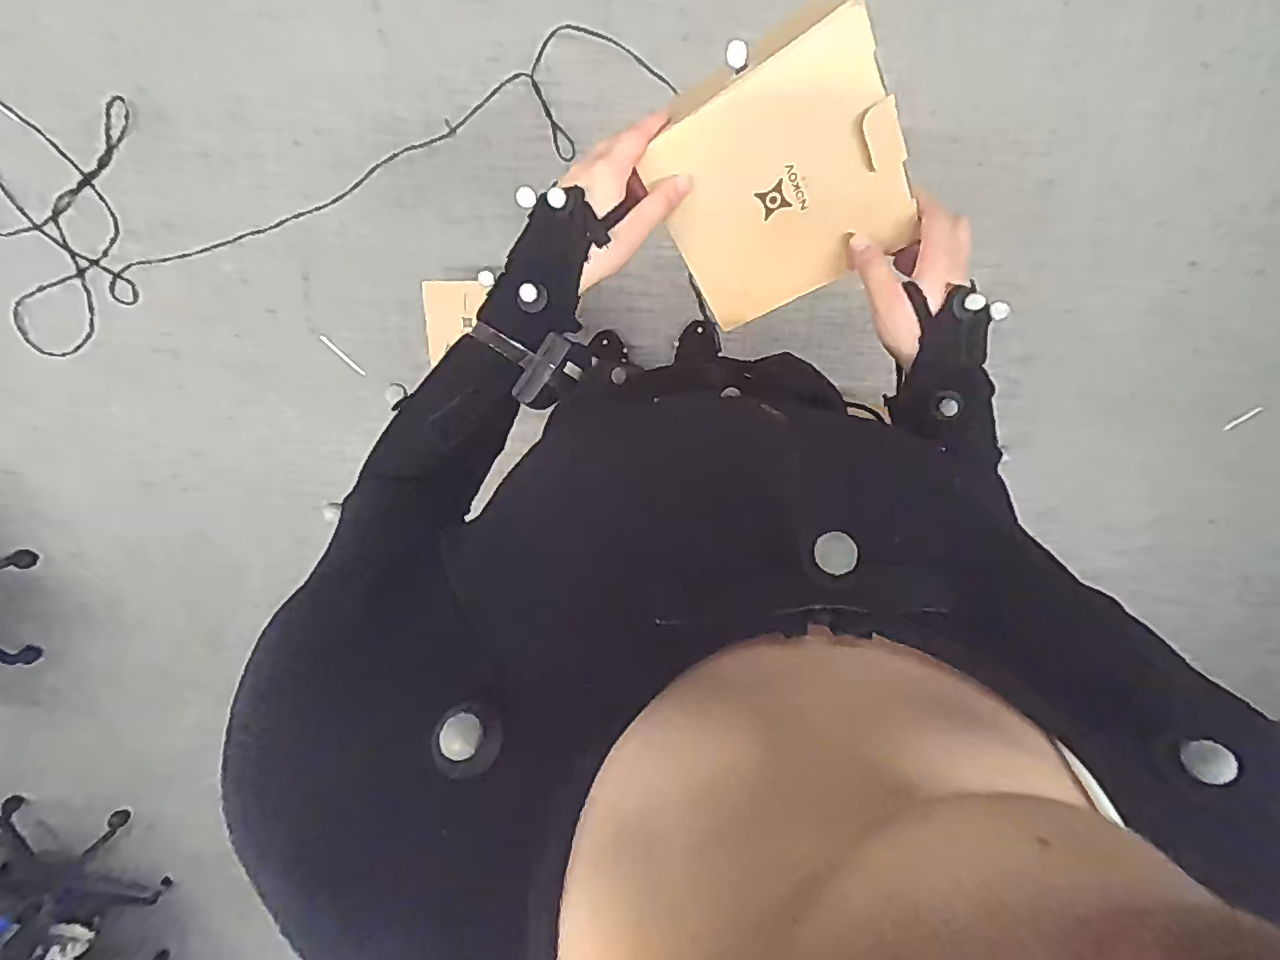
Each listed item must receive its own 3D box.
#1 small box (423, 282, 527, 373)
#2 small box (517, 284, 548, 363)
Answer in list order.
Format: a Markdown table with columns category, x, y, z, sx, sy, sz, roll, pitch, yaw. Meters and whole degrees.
| category | x | y | z | sx | sy | sz | roll | pitch | yaw |
| --- | --- | --- | --- | --- | --- | --- | --- | --- | --- |
| small box | -0.341 | -0.329 | 1.153 | 0.168 | 0.176 | 0.179 | 0 | 109 | 0 |
| small box | -0.323 | -0.380 | 1.309 | 0.168 | 0.176 | 0.179 | -1 | 110 | 1 |
